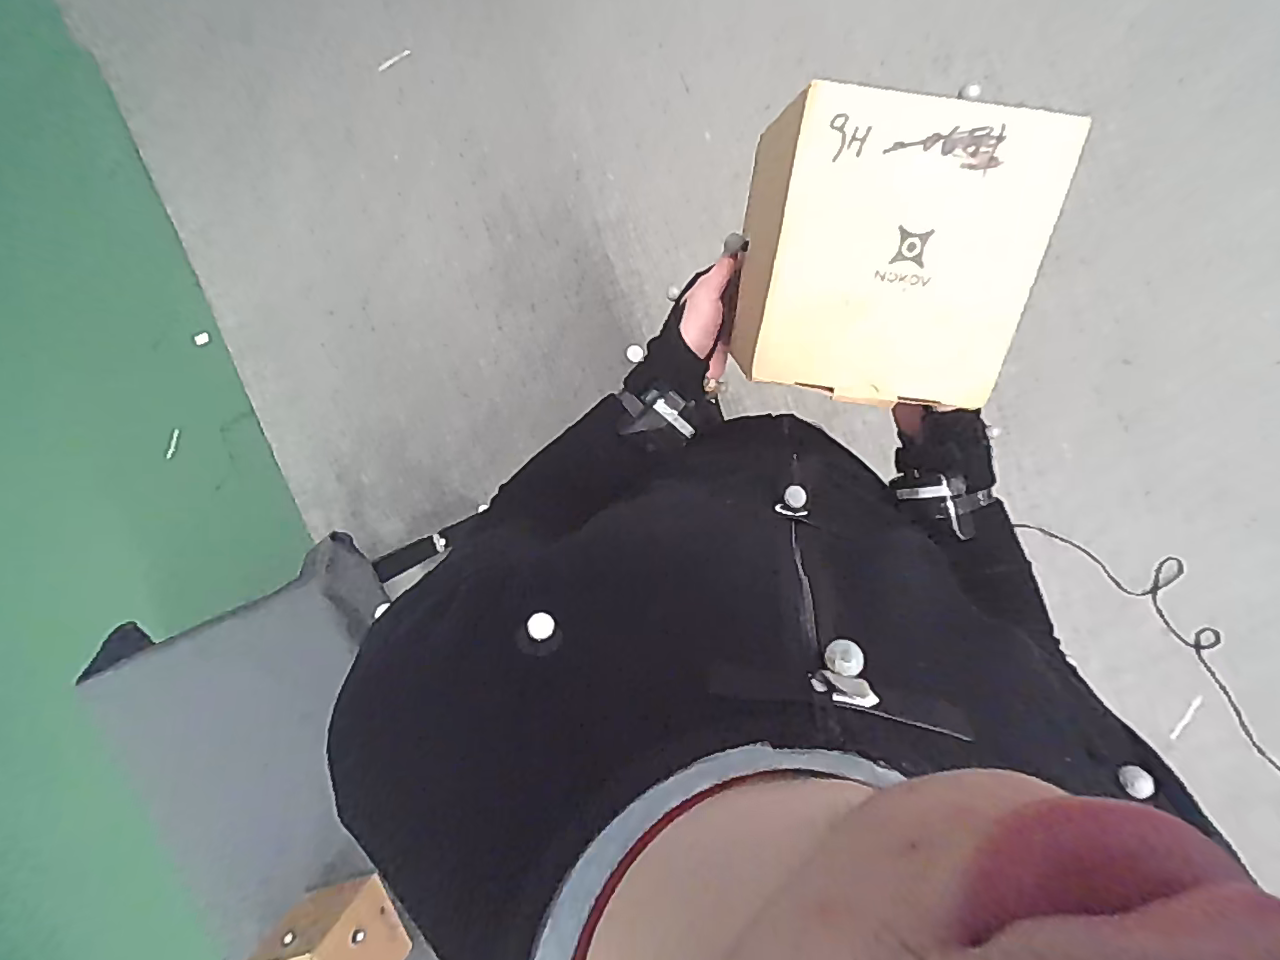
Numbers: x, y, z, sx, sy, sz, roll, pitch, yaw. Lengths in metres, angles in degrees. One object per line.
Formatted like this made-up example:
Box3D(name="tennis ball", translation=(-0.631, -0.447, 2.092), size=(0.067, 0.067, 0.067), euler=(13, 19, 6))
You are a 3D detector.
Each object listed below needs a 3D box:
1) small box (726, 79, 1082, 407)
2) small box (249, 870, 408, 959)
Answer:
Box3D(name="small box", translation=(0.166, -0.172, 0.415), size=(0.168, 0.176, 0.179), euler=(7, 114, -2))
Box3D(name="small box", translation=(-0.550, 0.848, 0.972), size=(0.179, 0.176, 0.168), euler=(-23, 93, 12))
